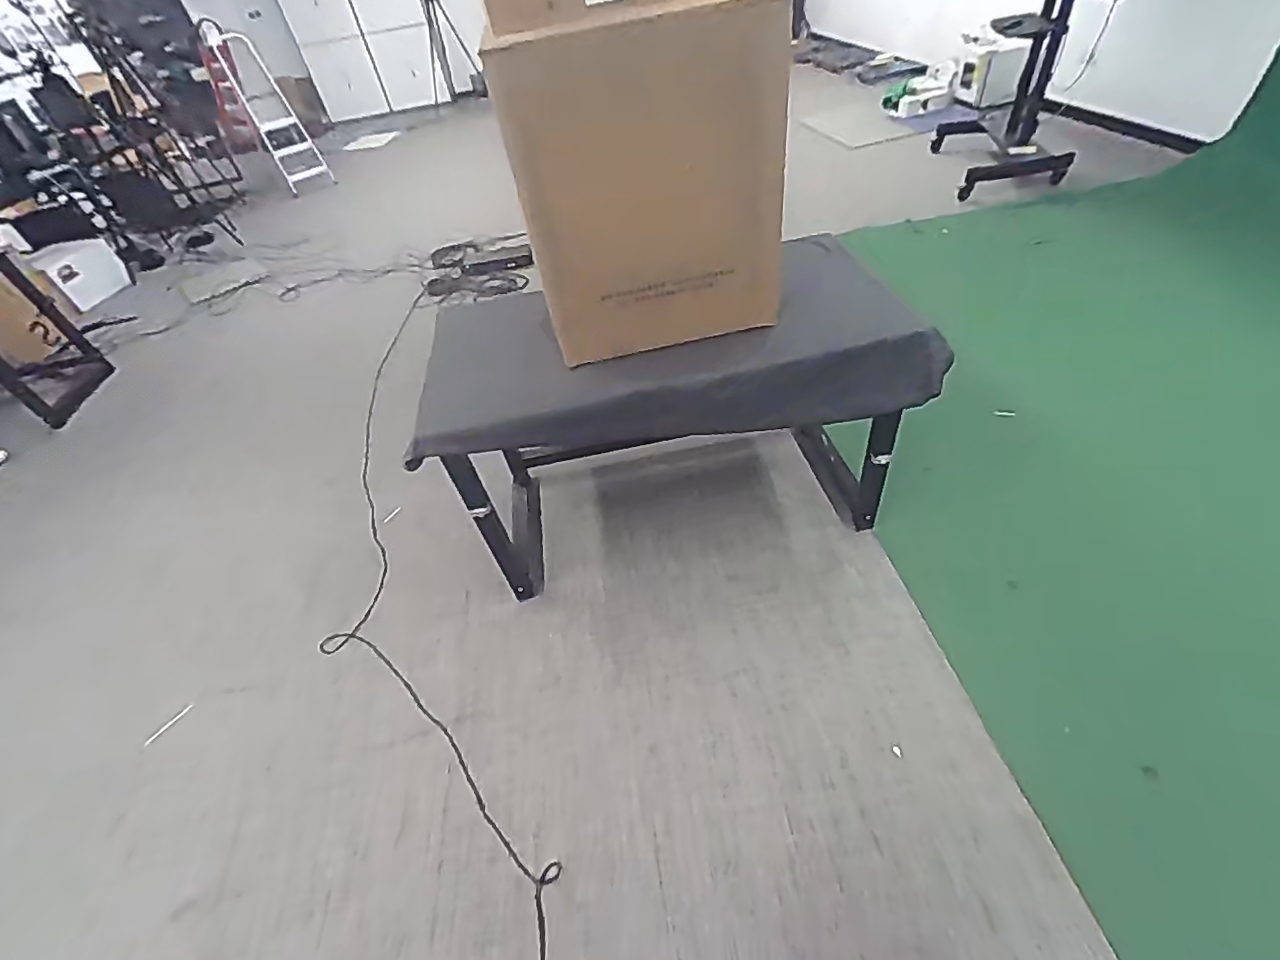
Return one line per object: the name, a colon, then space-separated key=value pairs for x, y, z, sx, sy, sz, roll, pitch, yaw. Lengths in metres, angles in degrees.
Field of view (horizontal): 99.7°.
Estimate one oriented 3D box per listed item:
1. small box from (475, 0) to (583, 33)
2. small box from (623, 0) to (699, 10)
small box: x=-0.207 y=-0.881 z=0.910 sx=0.168 sy=0.176 sz=0.179 roll=-20 pitch=49 yaw=-7
small box: x=0.049 y=-0.950 z=0.945 sx=0.168 sy=0.176 sz=0.179 roll=-15 pitch=48 yaw=-4
